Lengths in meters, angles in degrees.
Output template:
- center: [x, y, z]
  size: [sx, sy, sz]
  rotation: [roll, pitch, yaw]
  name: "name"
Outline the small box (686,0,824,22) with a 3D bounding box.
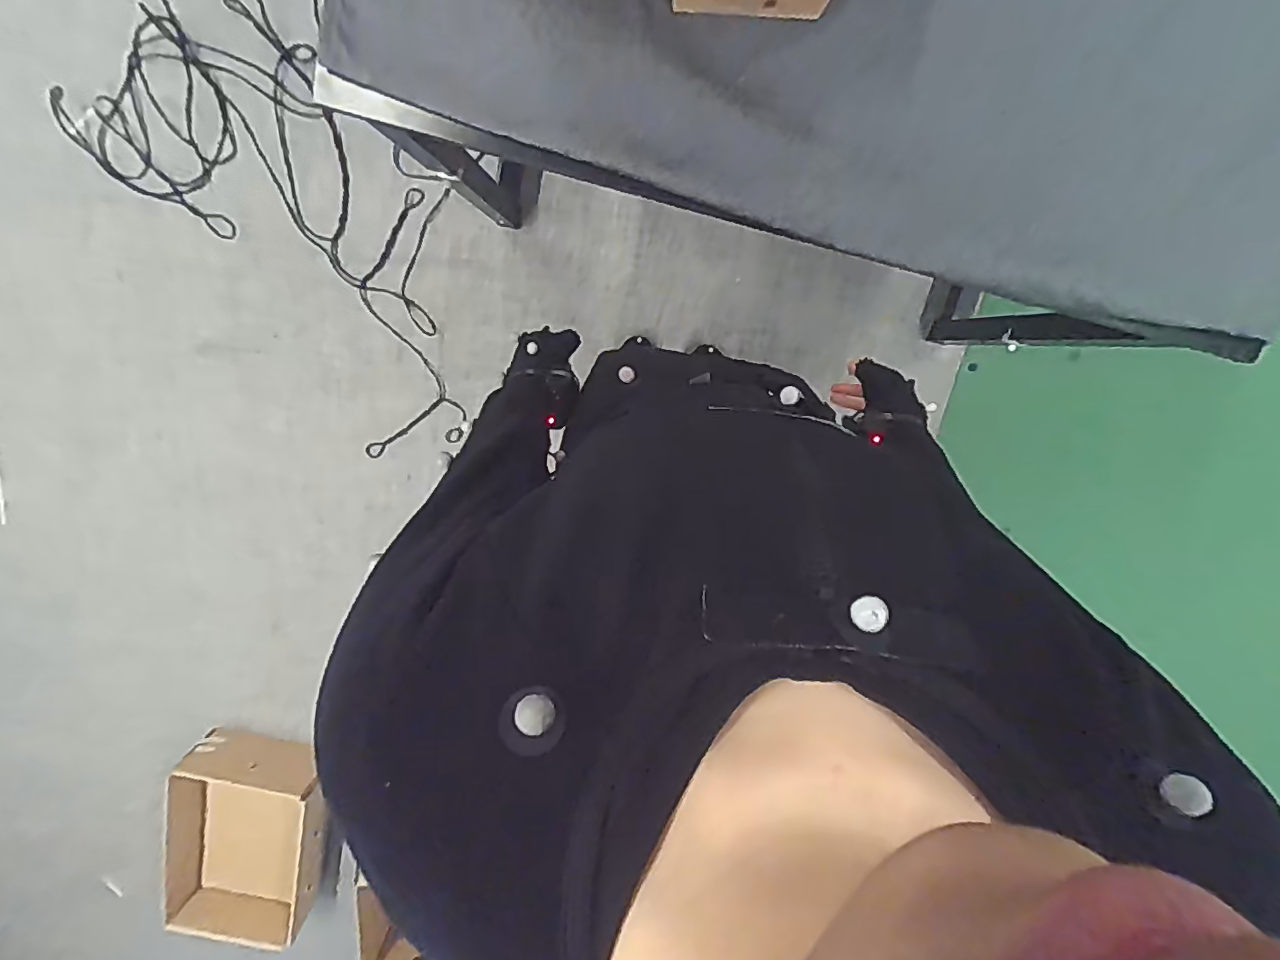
- center: [0.122, -0.577, 0.506]
  size: [0.168, 0.176, 0.179]
  rotation: [3, 104, -2]
  name: "small box"
